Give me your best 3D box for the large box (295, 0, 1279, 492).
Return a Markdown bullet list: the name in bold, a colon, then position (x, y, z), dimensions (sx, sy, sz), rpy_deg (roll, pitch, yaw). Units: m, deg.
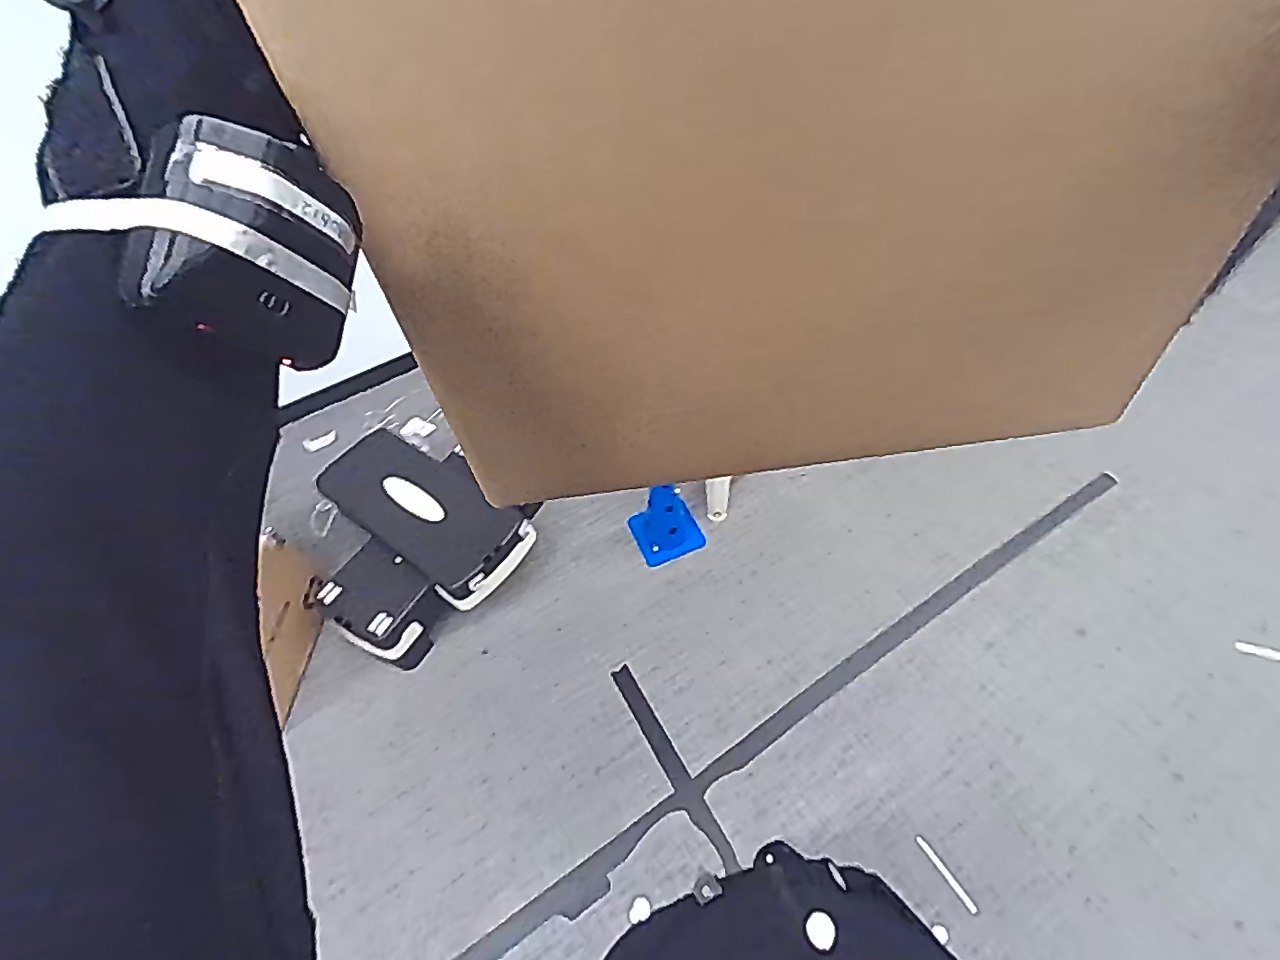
- **large box**: position (0.074, -0.223, 0.355), dimensions (0.408, 0.320, 0.320), rpy_deg (-7, 46, 2)
